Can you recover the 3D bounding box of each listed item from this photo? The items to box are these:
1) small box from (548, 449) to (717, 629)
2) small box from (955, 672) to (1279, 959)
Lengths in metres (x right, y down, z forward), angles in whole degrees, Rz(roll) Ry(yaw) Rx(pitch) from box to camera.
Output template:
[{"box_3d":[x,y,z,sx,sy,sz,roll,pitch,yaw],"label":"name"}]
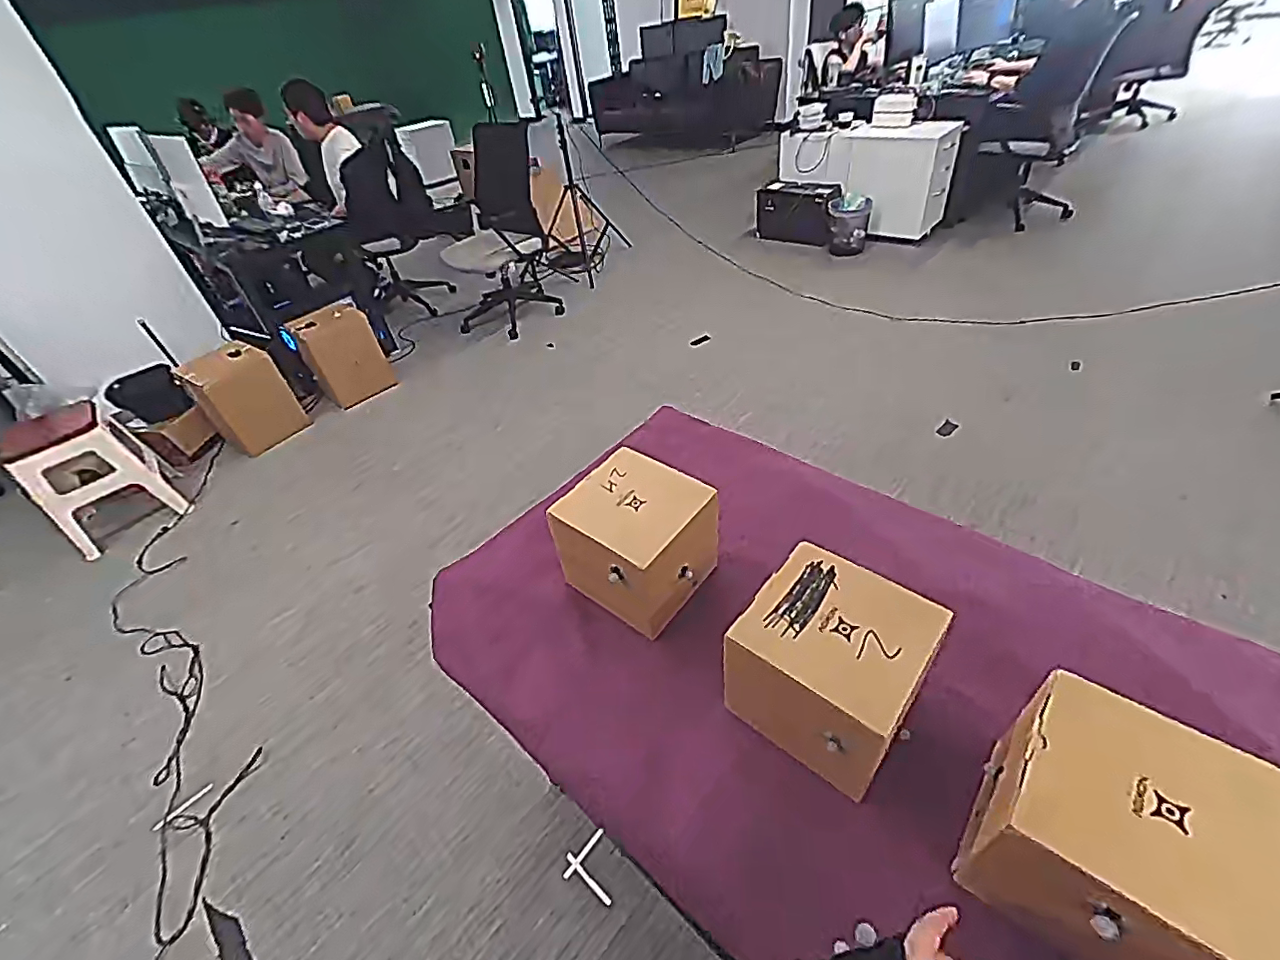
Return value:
[{"box_3d":[-0.003,0.090,0.793,0.179,0.176,0.168,27,52,31],"label":"small box"},{"box_3d":[0.411,0.313,0.472,0.179,0.176,0.168,24,51,33],"label":"small box"}]
